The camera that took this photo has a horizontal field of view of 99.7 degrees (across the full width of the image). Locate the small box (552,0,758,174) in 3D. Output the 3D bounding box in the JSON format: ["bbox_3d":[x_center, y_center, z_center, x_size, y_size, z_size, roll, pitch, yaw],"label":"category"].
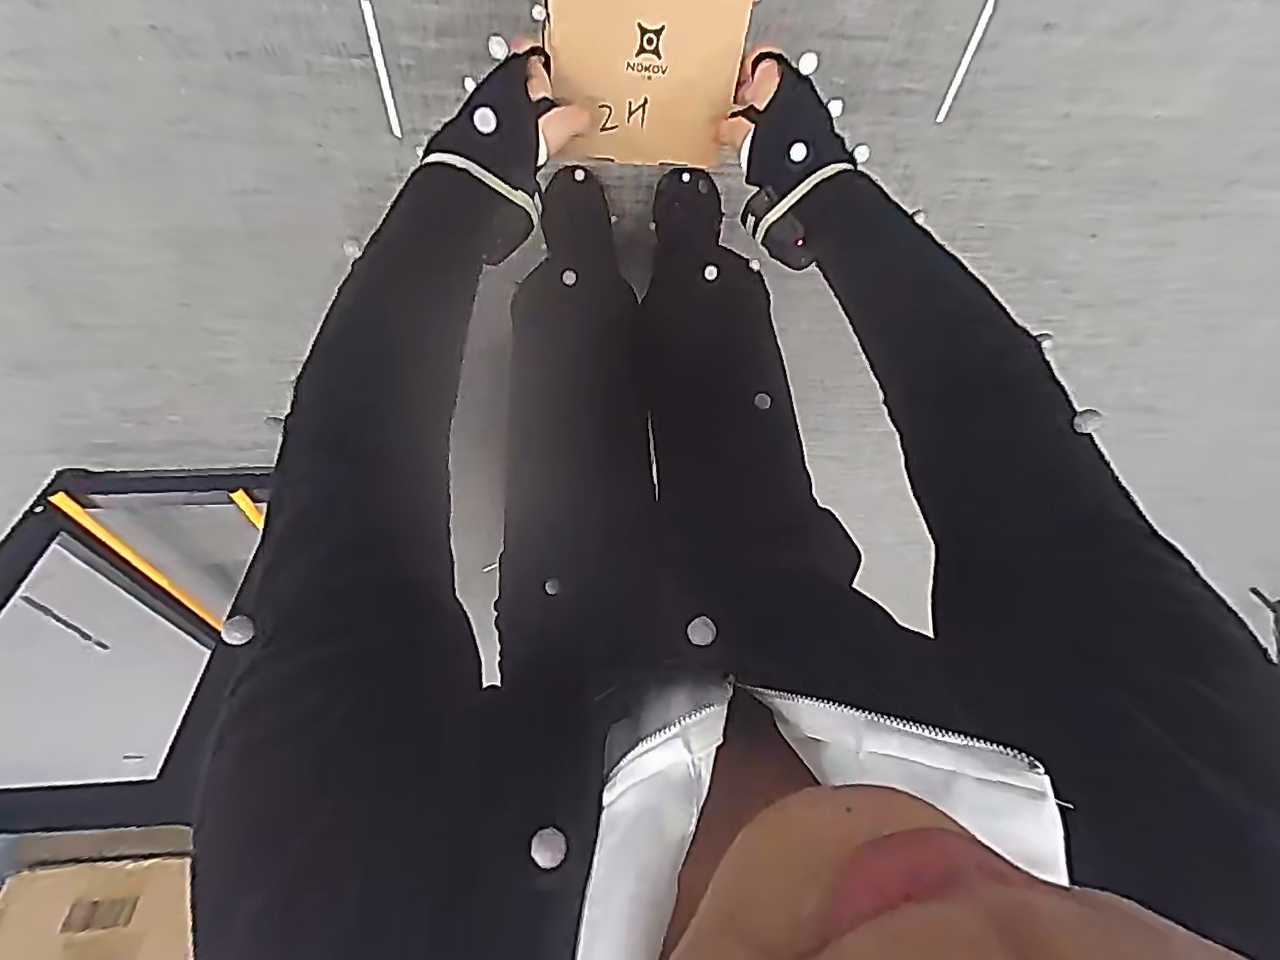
[{"bbox_3d":[0.002,-0.422,0.508,0.168,0.176,0.179,1,141,-8],"label":"small box"}]
